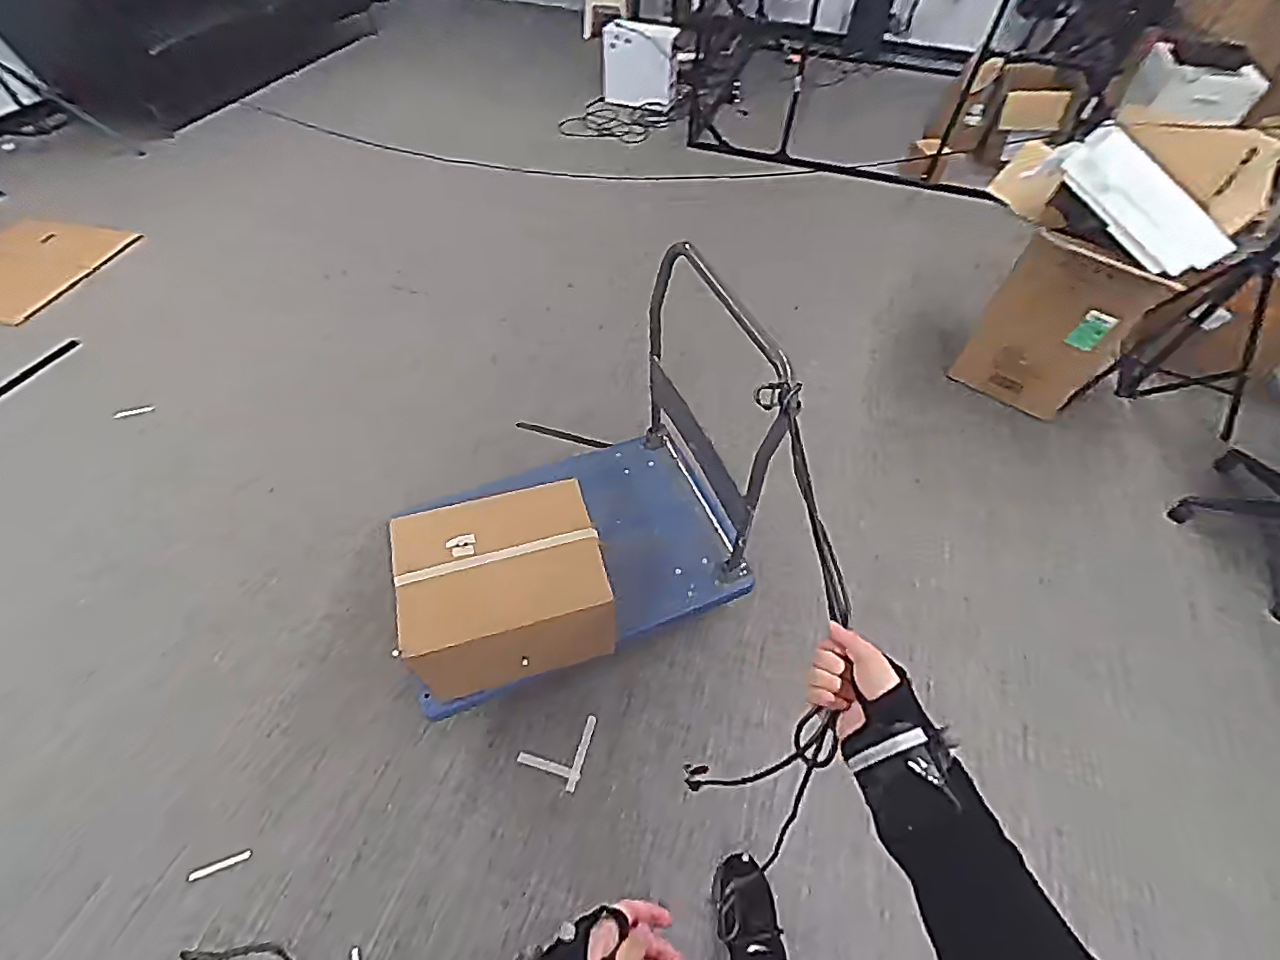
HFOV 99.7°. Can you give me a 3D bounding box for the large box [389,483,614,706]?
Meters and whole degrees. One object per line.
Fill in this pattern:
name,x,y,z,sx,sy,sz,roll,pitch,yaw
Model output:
large box,-0.293,0.257,1.209,0.408,0.320,0.320,-14,55,-12
